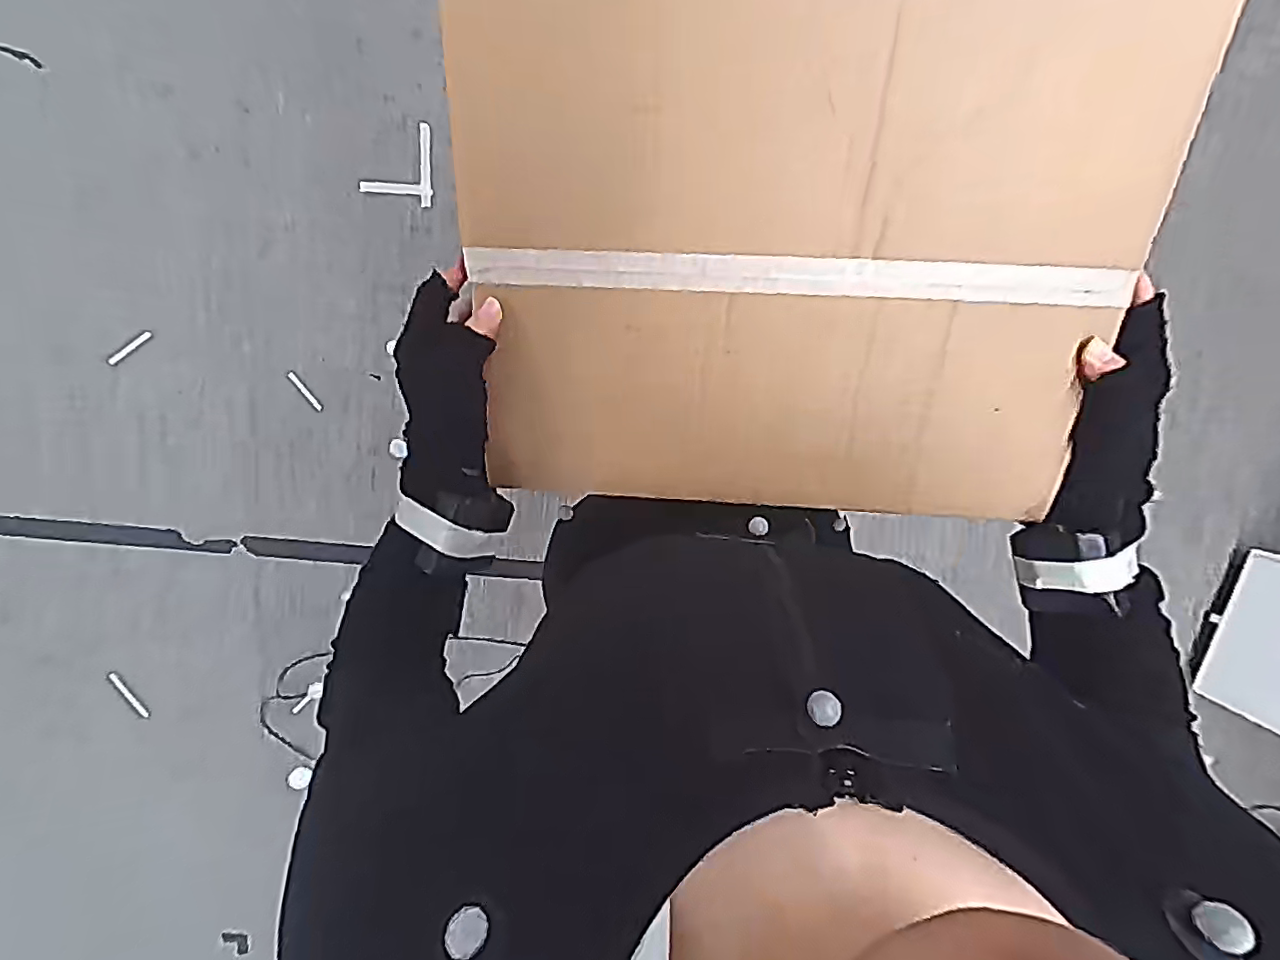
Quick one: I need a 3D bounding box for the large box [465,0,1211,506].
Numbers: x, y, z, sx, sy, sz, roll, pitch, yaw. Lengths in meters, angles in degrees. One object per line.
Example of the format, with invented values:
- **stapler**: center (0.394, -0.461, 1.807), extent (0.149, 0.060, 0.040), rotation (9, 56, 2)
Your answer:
- **large box**: center (0.104, -0.188, 0.484), extent (0.408, 0.320, 0.320), rotation (3, 115, 2)
